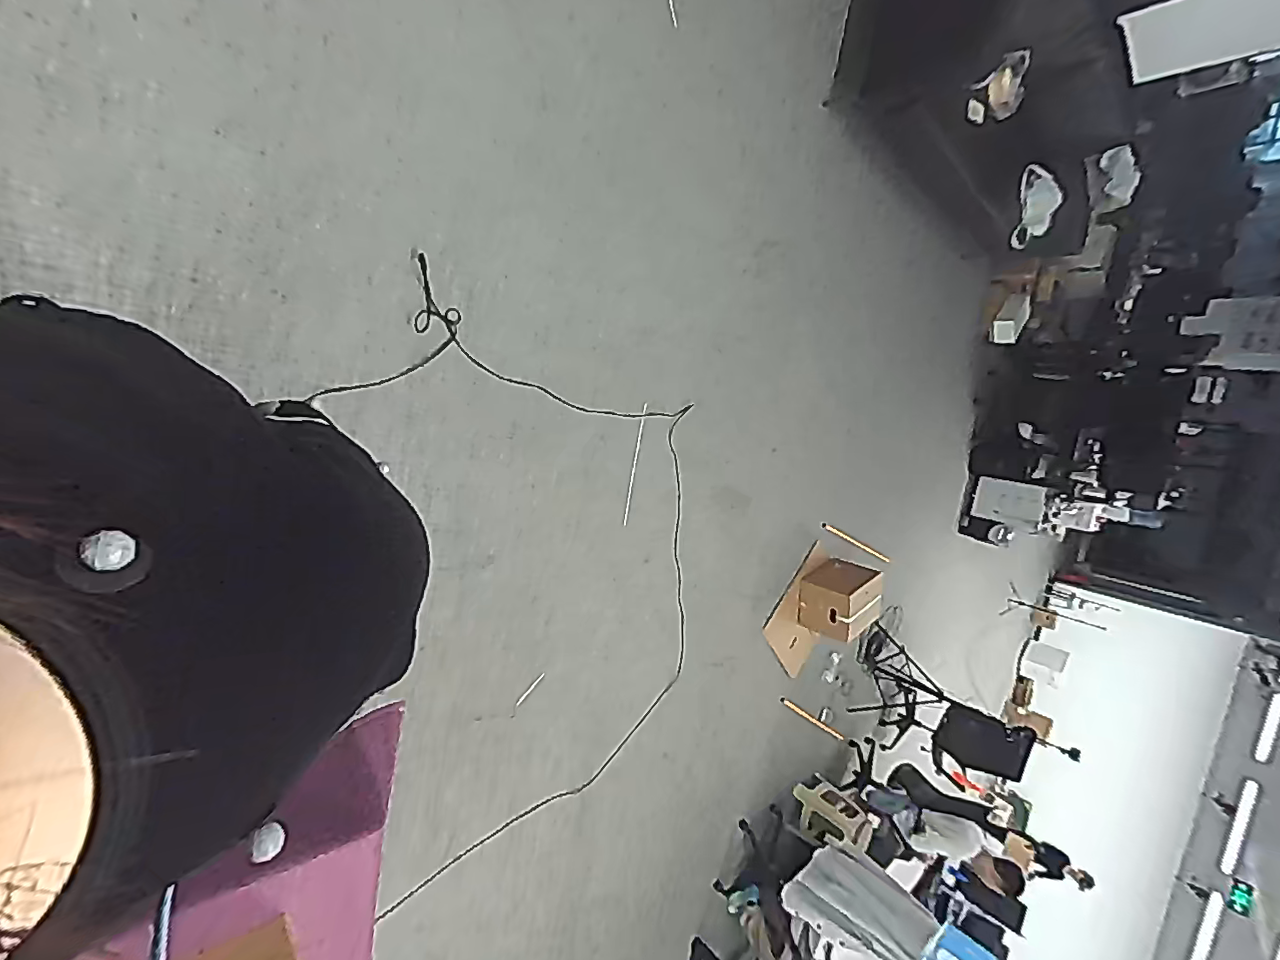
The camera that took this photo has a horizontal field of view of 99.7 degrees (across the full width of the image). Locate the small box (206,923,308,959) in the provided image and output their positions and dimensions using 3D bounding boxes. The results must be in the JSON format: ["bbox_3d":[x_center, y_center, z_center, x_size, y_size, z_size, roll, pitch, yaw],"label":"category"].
[{"bbox_3d":[-0.523,0.734,0.690,0.179,0.176,0.168,-1,102,-42],"label":"small box"}]
